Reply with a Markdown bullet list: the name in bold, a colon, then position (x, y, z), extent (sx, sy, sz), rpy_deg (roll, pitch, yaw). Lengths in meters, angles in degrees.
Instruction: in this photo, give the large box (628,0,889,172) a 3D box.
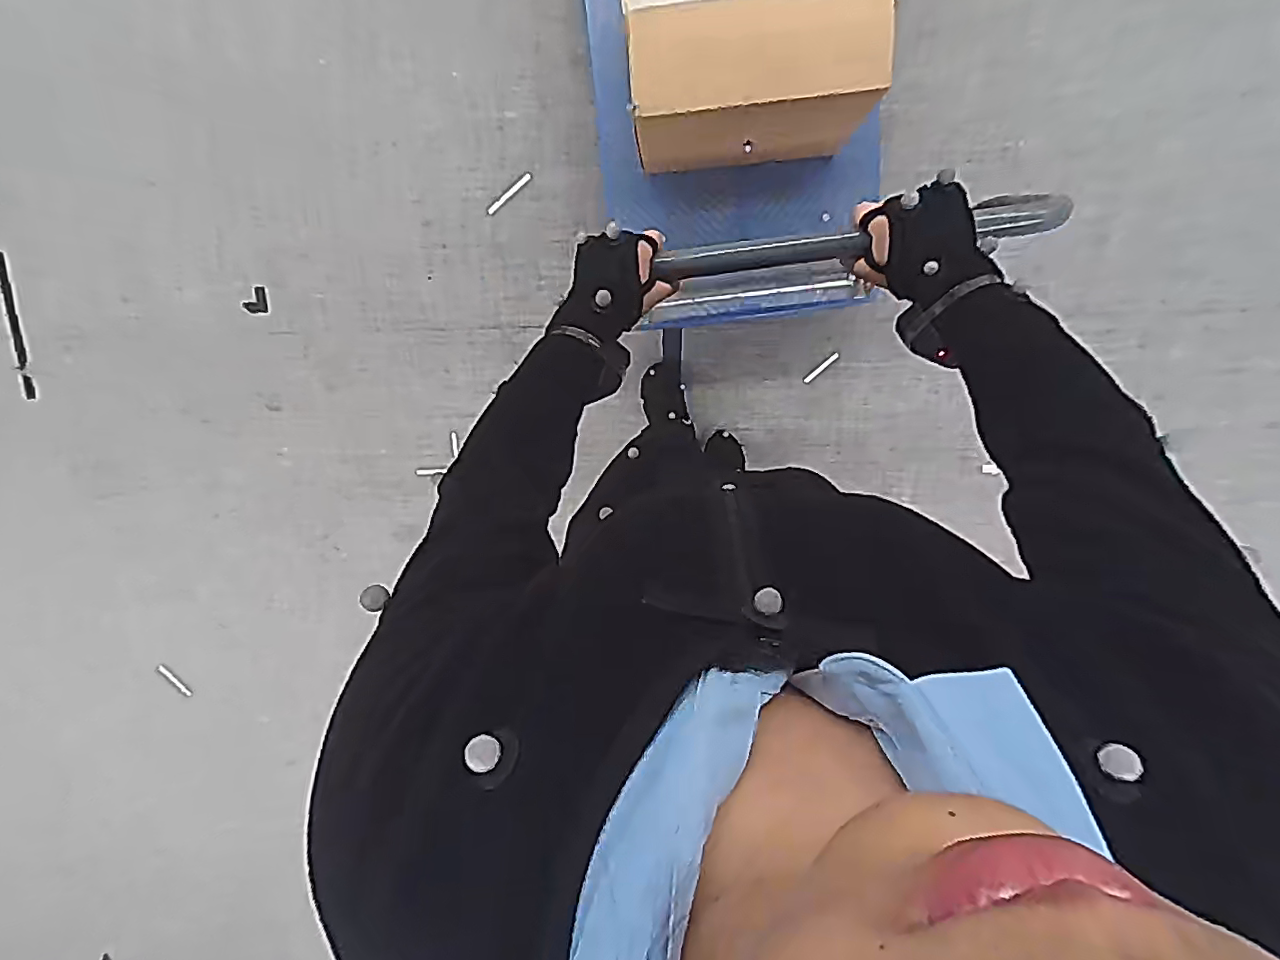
- **large box**: position (0.193, -0.789, 0.976), extent (0.408, 0.320, 0.320), rpy_deg (-4, 103, 6)
